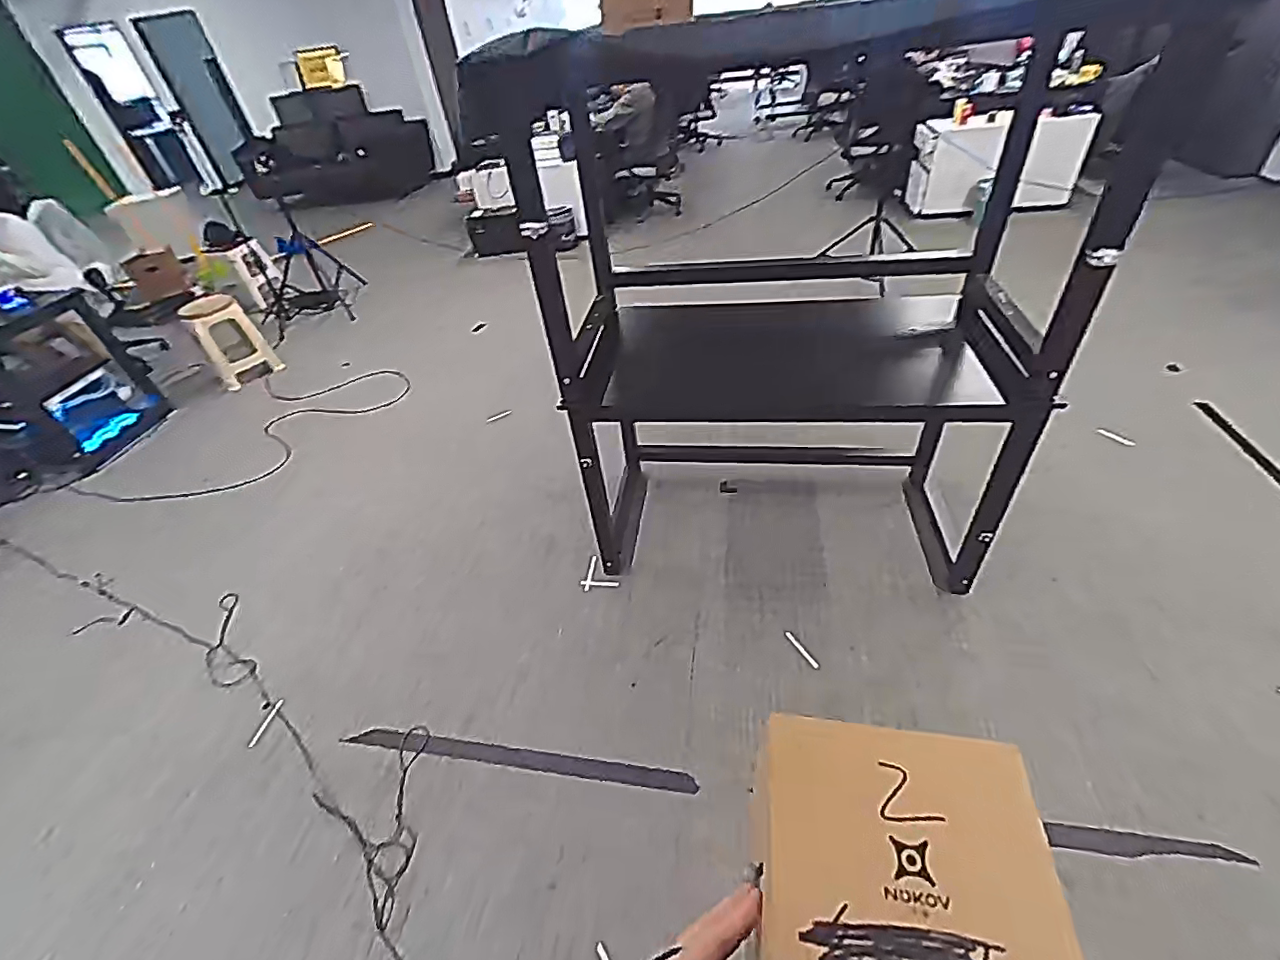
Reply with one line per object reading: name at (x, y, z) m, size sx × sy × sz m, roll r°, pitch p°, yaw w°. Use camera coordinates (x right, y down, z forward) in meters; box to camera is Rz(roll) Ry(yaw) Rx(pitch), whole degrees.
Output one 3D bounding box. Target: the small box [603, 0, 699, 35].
small box at (0.020, -0.907, 0.958) m, size 0.168 × 0.176 × 0.179 m, roll -1°, pitch 41°, yaw 7°
